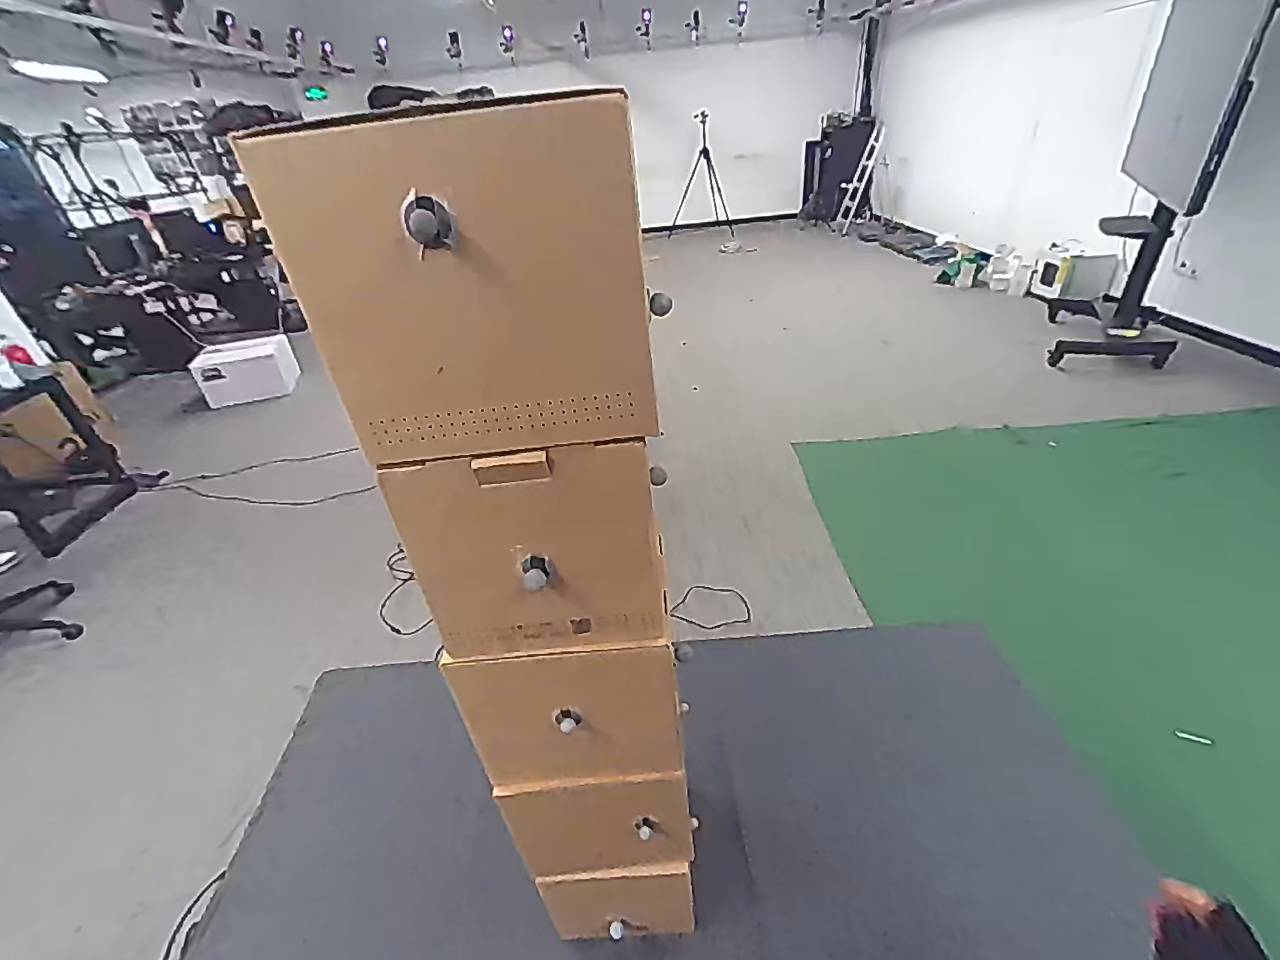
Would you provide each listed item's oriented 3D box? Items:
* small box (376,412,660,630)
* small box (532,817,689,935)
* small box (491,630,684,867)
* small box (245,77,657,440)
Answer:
[{"bbox_3d":[-0.075,0.004,0.437,0.168,0.176,0.179,-5,32,1],"label":"small box"},{"bbox_3d":[-0.027,0.429,0.677,0.168,0.176,0.179,-5,33,2],"label":"small box"},{"bbox_3d":[-0.045,0.290,0.592,0.179,0.176,0.168,-6,32,0],"label":"small box"},{"bbox_3d":[-0.086,-0.135,0.347,0.179,0.176,0.168,-5,31,2],"label":"small box"}]
